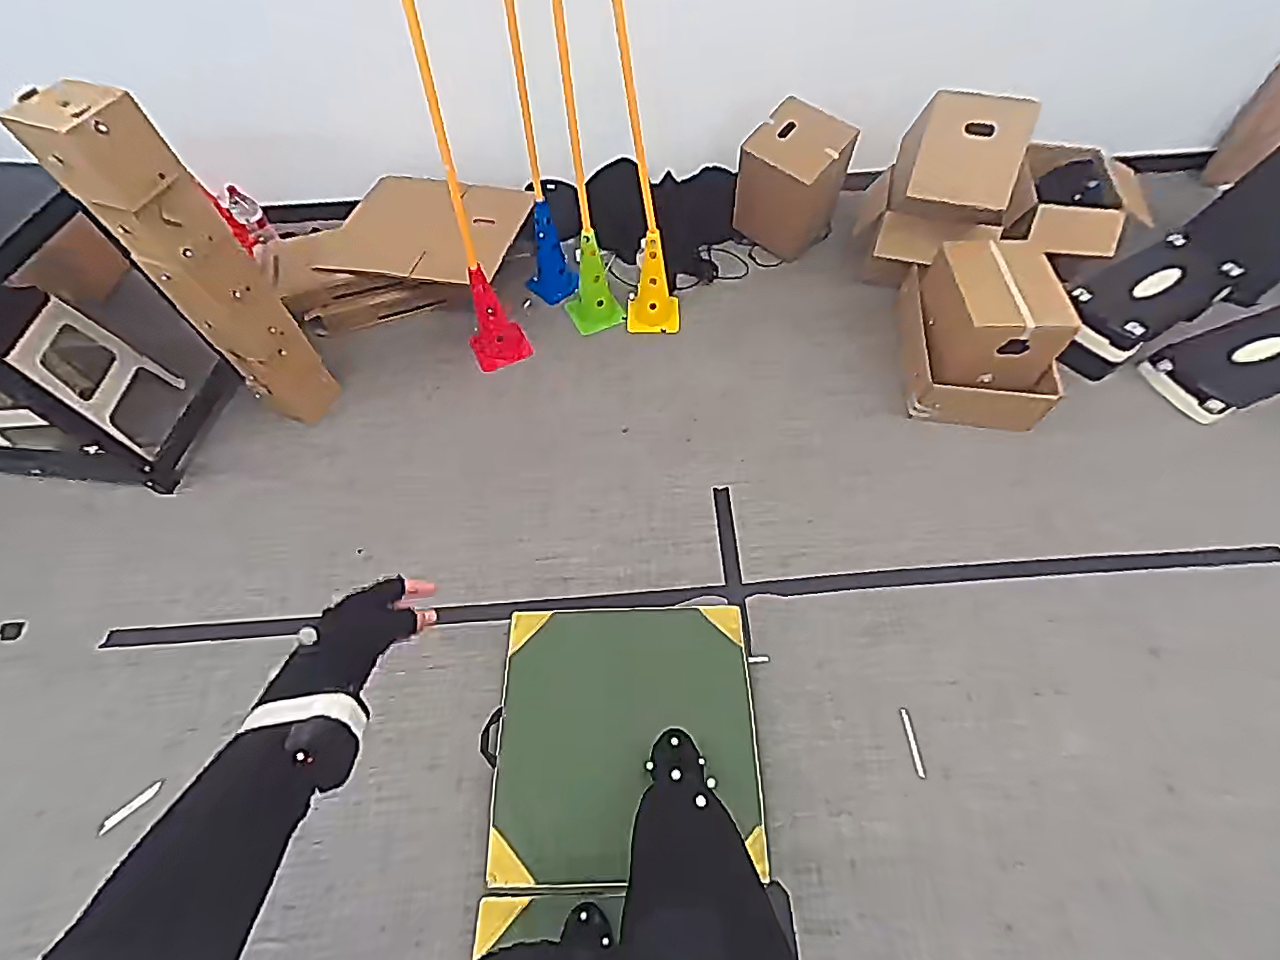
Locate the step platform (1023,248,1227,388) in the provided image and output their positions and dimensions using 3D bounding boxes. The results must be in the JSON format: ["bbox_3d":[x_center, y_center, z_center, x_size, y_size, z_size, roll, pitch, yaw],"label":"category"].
[{"bbox_3d":[1.778,-0.606,1.985,0.684,0.204,0.286,-28,62,-15],"label":"step platform"}]
